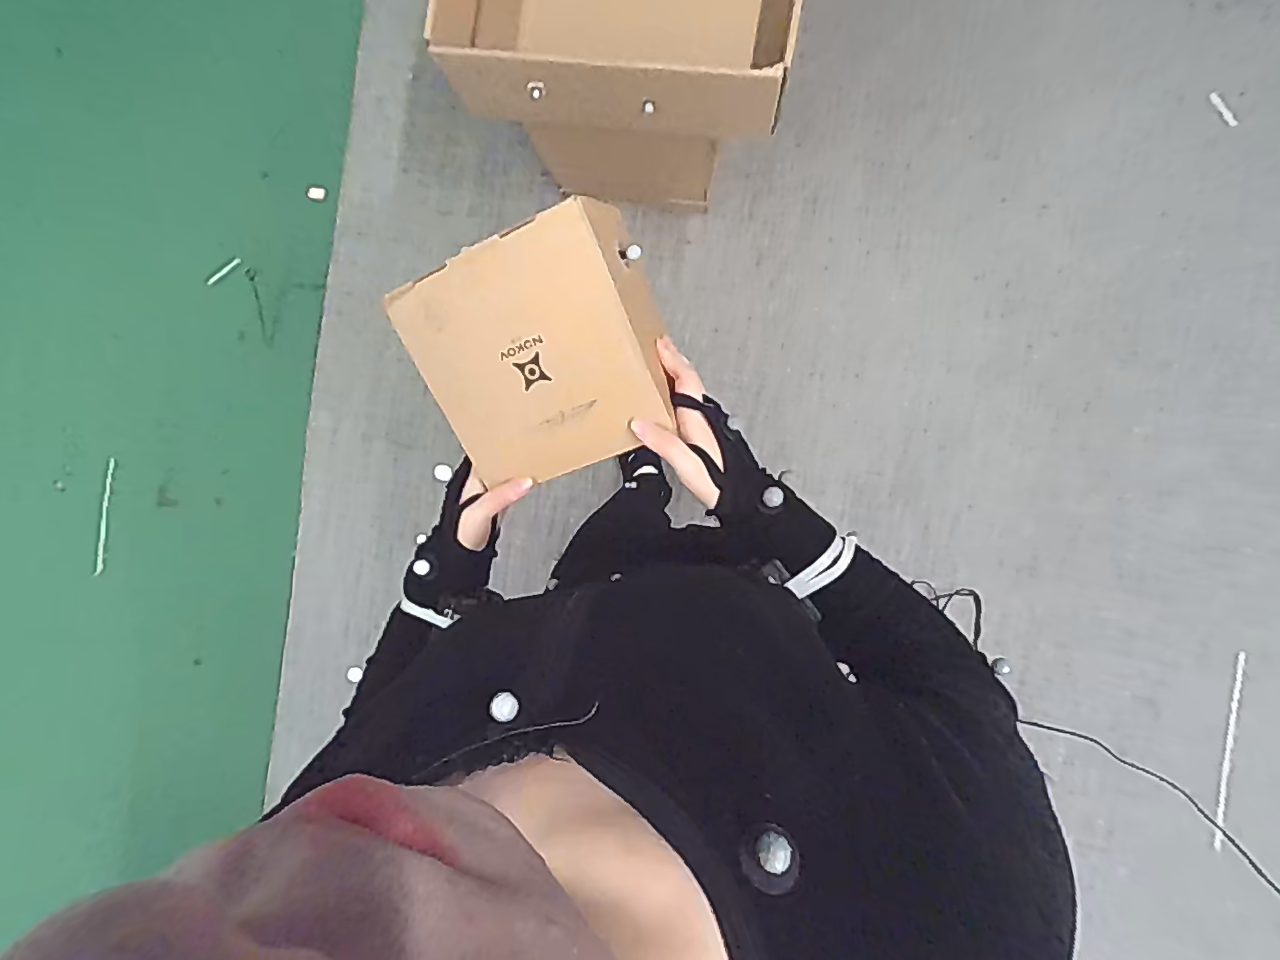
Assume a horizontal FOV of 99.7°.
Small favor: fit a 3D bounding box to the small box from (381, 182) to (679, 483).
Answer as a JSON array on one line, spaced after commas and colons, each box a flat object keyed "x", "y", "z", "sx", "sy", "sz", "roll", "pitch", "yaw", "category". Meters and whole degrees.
[{"x": -0.073, "y": -0.126, "z": 0.469, "sx": 0.168, "sy": 0.176, "sz": 0.179, "roll": -18, "pitch": 110, "yaw": 16, "category": "small box"}]
